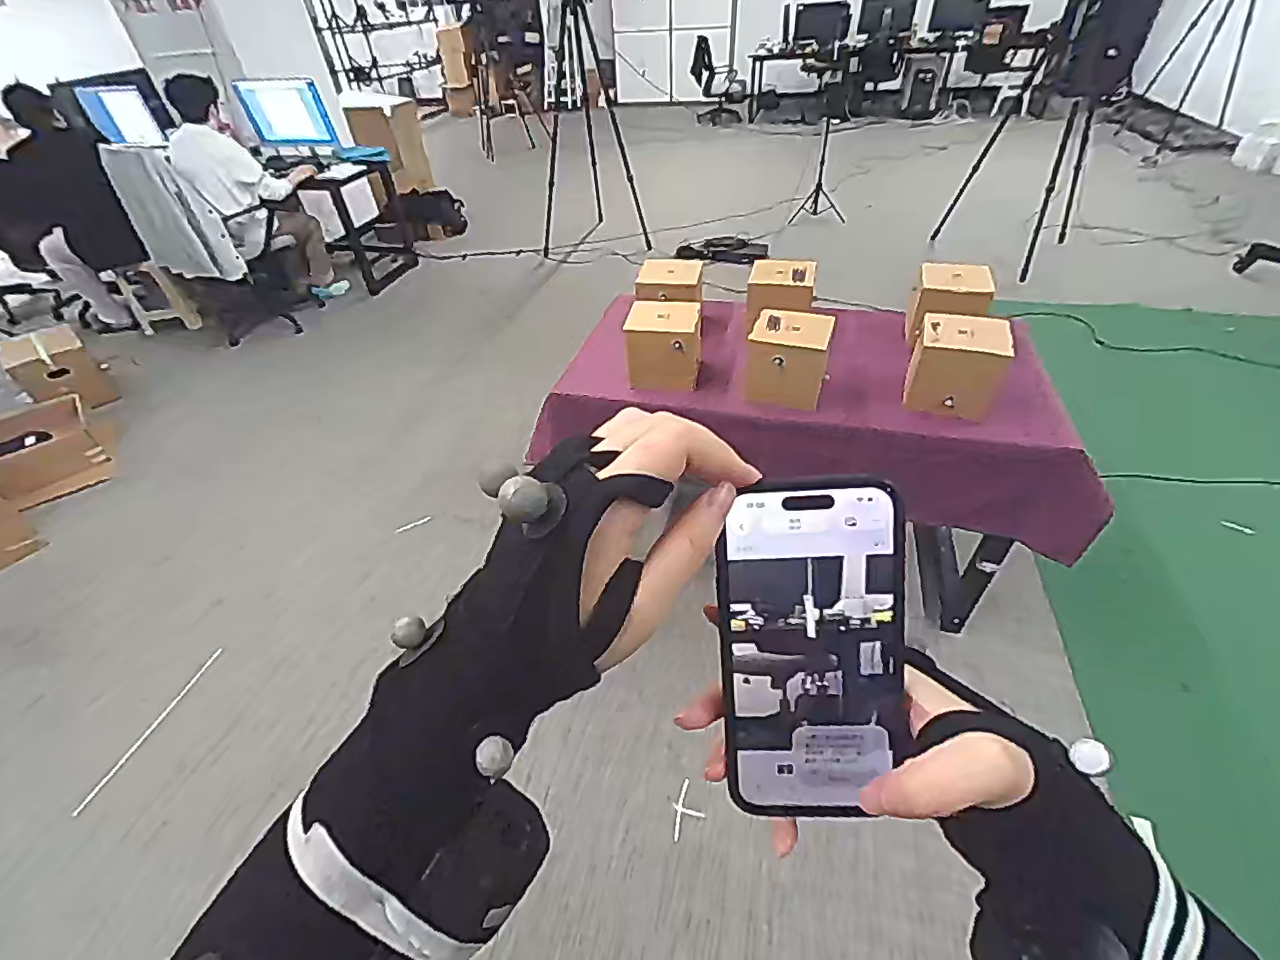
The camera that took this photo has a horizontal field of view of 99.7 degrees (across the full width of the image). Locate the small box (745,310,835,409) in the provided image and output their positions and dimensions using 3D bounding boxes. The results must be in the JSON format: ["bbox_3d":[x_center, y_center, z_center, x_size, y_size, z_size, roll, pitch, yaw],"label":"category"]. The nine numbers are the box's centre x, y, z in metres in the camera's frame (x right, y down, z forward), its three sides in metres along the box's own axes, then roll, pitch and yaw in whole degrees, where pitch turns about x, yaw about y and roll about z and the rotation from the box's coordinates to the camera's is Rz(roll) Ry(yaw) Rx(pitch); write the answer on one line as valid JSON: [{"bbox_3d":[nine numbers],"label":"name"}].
[{"bbox_3d":[0.360,-0.291,1.312,0.179,0.176,0.168,13,45,17],"label":"small box"}]

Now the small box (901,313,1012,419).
[{"bbox_3d":[0.724,-0.261,1.248,0.179,0.176,0.168,14,45,18],"label":"small box"}]

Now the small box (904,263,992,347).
[{"bbox_3d":[0.824,-0.467,1.463,0.168,0.176,0.179,11,45,17],"label":"small box"}]

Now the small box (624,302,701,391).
[{"bbox_3d":[0.063,-0.345,1.398,0.179,0.176,0.168,5,43,9],"label":"small box"}]
